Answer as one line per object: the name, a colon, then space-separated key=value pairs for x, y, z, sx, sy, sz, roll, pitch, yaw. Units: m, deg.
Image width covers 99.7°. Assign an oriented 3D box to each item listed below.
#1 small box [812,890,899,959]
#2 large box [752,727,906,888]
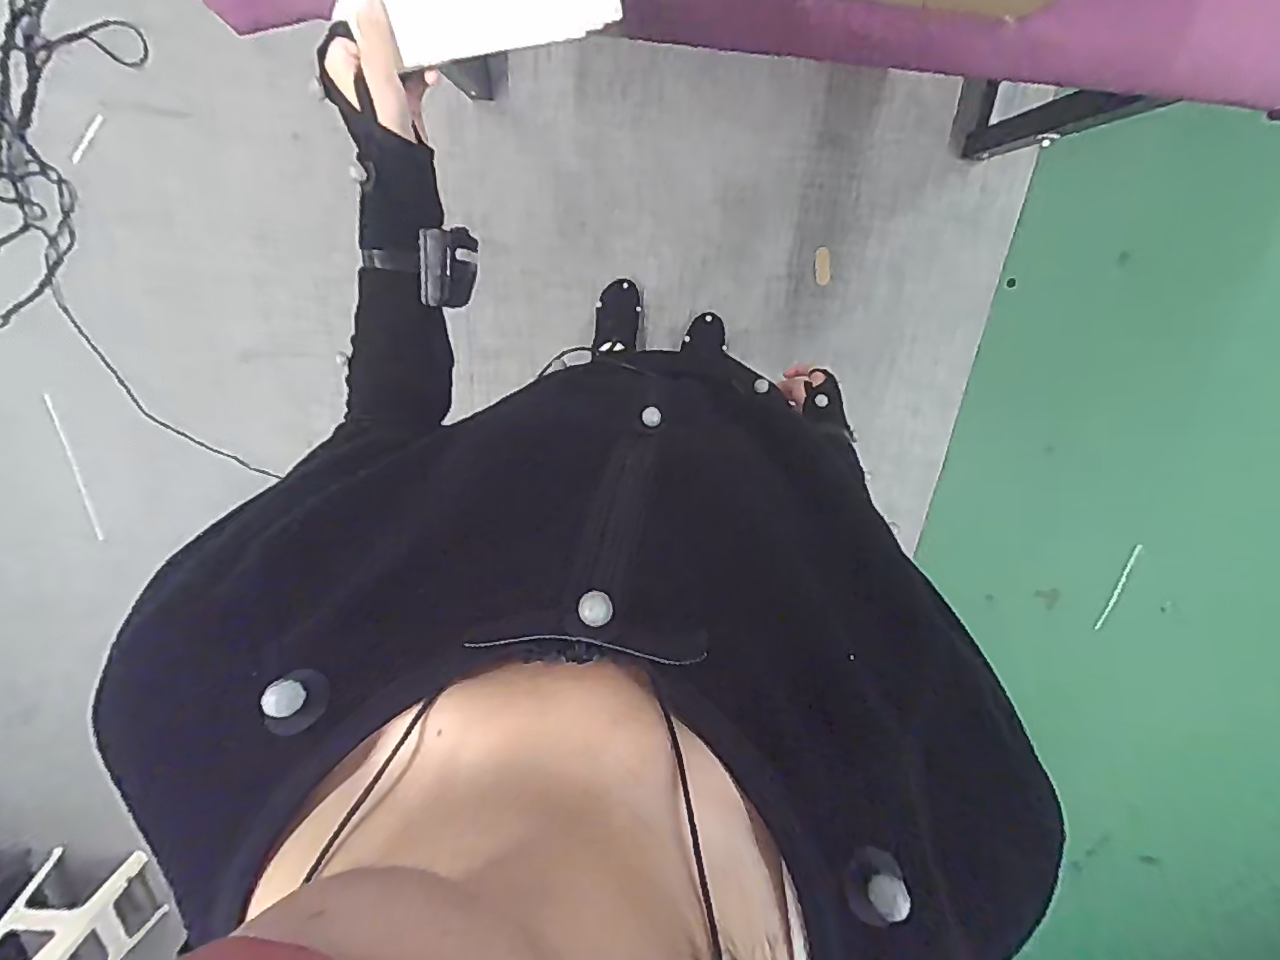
small box: x=0.560 y=1.222 z=1.420 sx=0.179 sy=0.176 sz=0.168 roll=-9 pitch=110 yaw=5
large box: x=0.615 y=1.079 z=1.800 sx=0.408 sy=0.320 sz=0.320 roll=-9 pitch=112 yaw=3
